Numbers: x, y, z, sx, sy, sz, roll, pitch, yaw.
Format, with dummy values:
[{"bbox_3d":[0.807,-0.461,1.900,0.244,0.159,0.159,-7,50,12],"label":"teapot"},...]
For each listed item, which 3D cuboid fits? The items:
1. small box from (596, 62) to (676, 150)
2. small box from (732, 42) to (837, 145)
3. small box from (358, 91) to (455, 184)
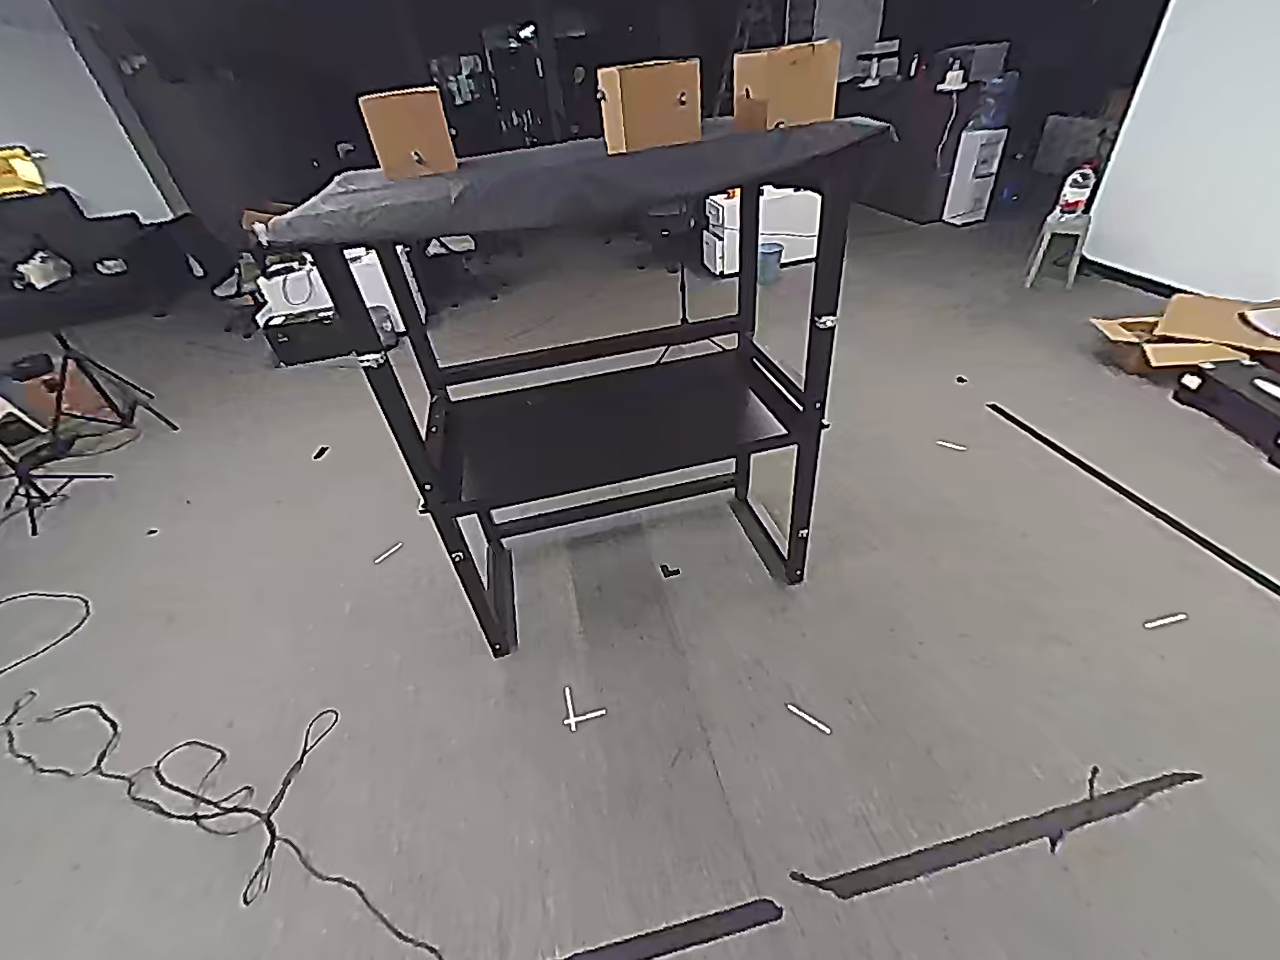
[{"bbox_3d":[-0.009,-0.980,1.419,0.168,0.176,0.179,-13,39,-7],"label":"small box"},{"bbox_3d":[0.318,-0.863,1.216,0.168,0.176,0.179,-15,37,-9],"label":"small box"},{"bbox_3d":[-0.565,-0.849,1.337,0.179,0.176,0.168,-13,39,-9],"label":"small box"}]
